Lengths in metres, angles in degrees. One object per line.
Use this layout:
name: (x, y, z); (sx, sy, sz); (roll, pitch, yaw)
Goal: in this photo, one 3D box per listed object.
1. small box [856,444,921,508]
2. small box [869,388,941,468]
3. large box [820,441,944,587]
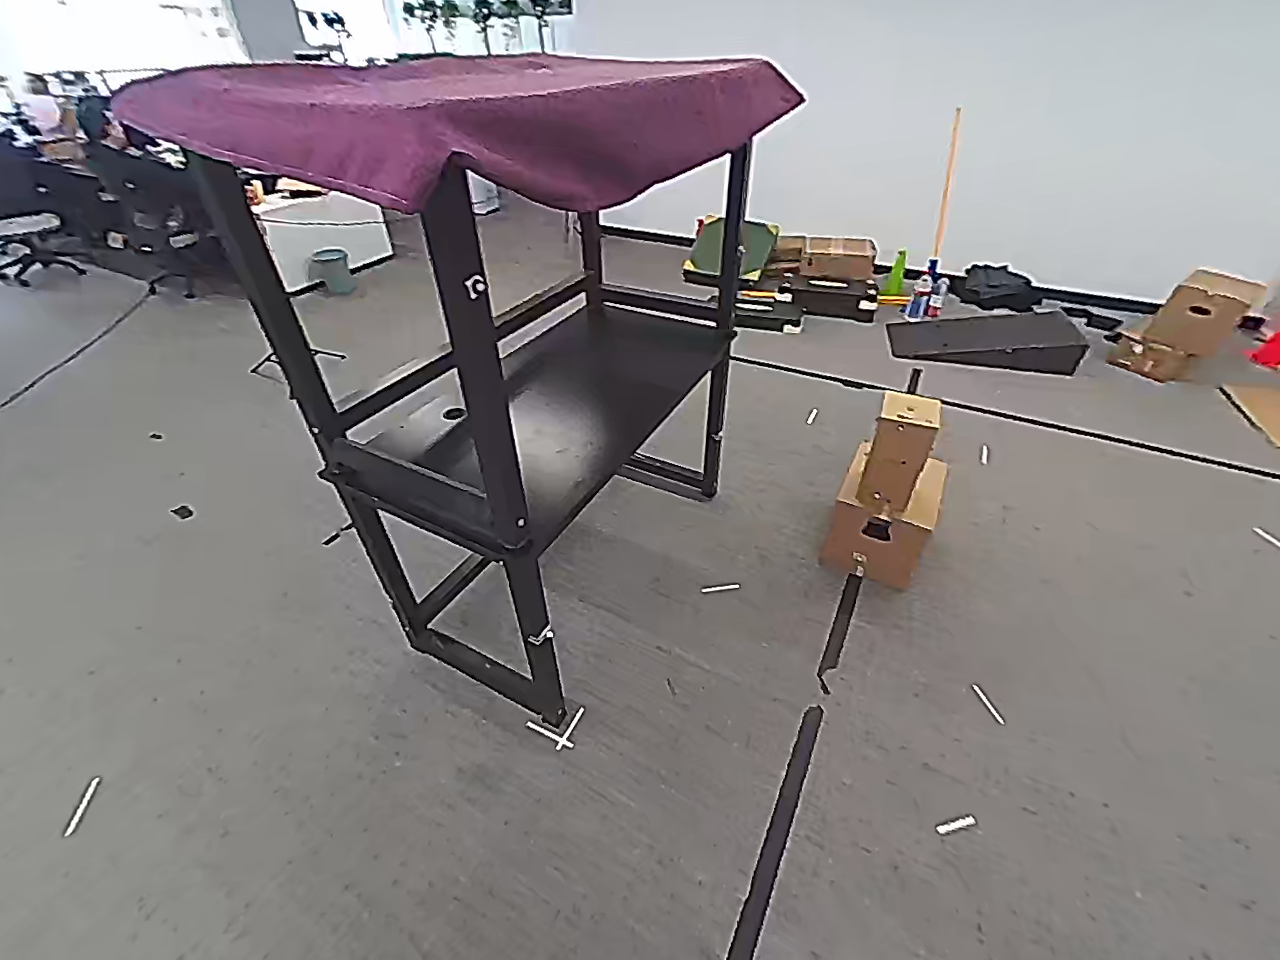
small box: (0.840, -0.038, 1.814); (0.168, 0.176, 0.179); (18, 43, 23)
small box: (0.836, -0.165, 1.710); (0.168, 0.176, 0.179); (15, 41, 21)
large box: (0.894, 0.119, 2.007); (0.320, 0.320, 0.408); (20, 43, 22)
